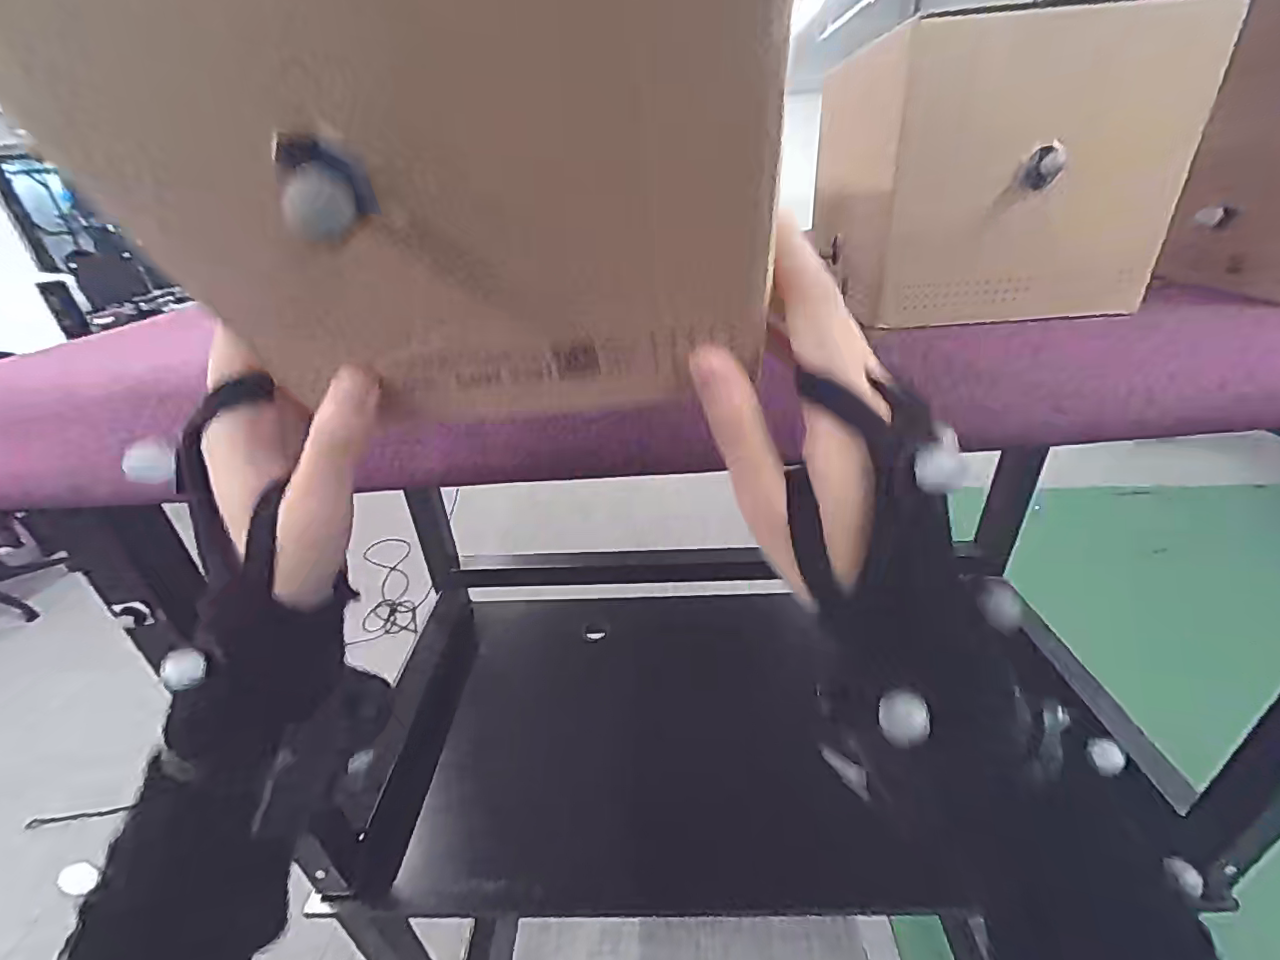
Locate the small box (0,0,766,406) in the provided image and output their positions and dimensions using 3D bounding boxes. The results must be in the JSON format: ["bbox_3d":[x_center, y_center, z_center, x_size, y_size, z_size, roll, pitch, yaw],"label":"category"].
[{"bbox_3d":[-0.050,-0.137,0.175,0.168,0.176,0.179,-4,58,6],"label":"small box"}]
